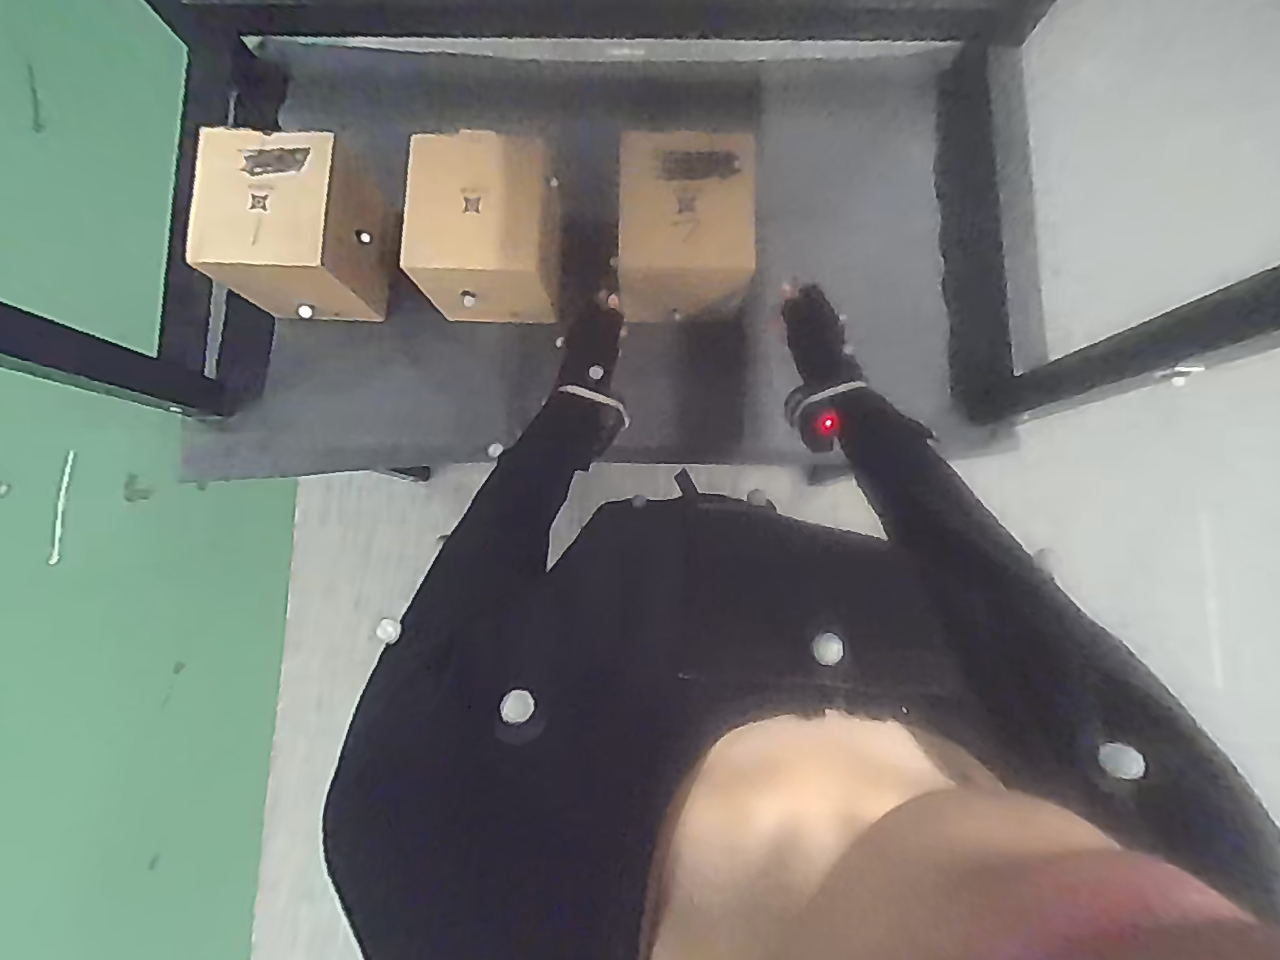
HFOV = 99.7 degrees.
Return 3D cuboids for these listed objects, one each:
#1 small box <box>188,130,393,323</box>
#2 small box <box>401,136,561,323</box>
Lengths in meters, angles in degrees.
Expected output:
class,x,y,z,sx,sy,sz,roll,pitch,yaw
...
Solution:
class,x,y,z,sx,sy,sz,roll,pitch,yaw
small box,-0.456,-0.333,0.735,0.168,0.176,0.179,2,84,0
small box,-0.204,-0.328,0.737,0.168,0.176,0.179,2,83,0
